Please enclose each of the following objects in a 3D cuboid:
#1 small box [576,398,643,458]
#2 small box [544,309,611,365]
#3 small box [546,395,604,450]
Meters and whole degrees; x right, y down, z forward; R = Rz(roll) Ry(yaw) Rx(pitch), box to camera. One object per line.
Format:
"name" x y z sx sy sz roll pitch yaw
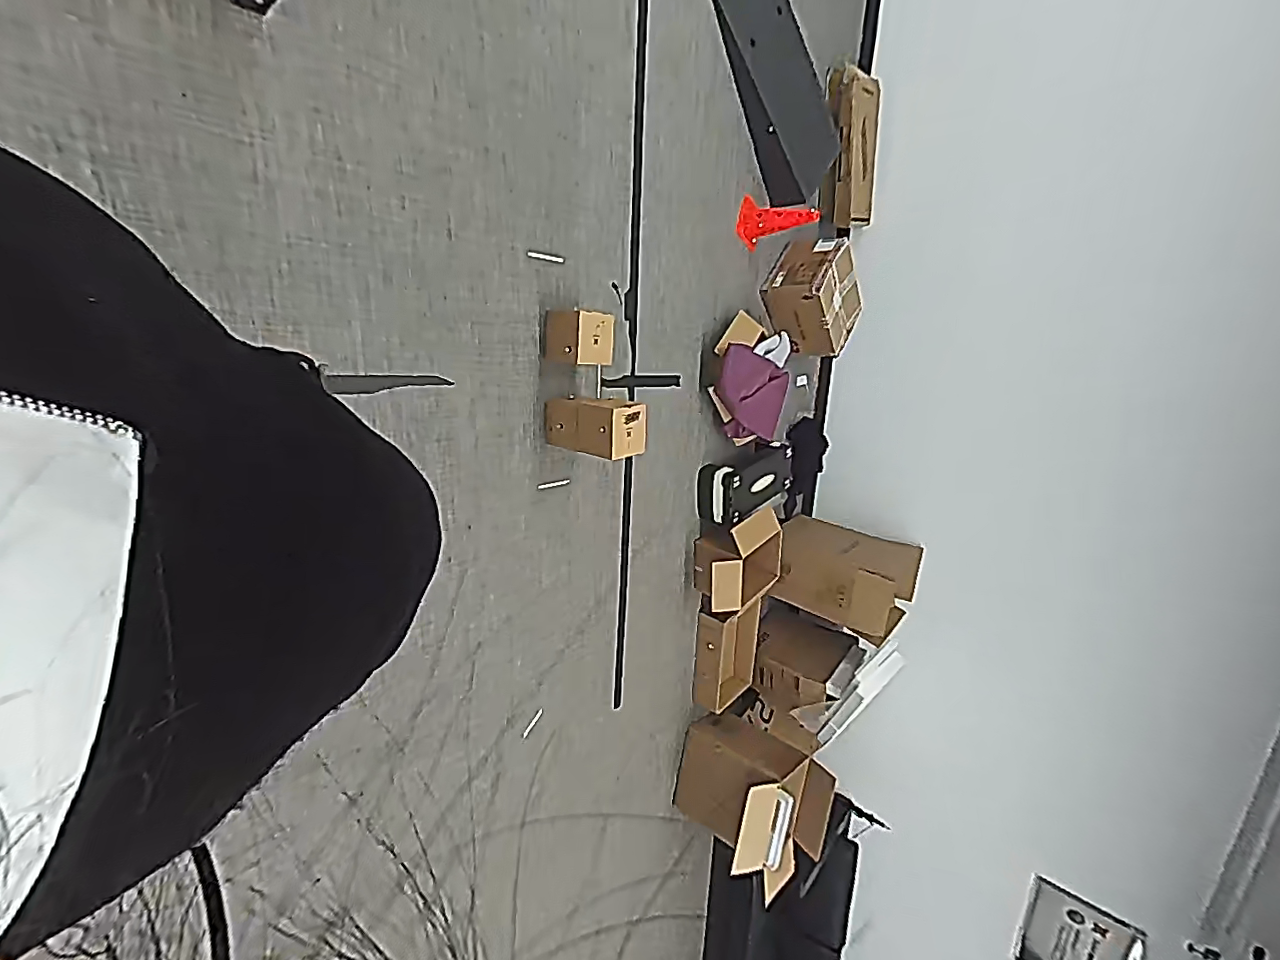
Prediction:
"small box" -0.107 -0.186 1.867 0.168 0.176 0.179 -17 115 -46
"small box" -0.222 -0.500 1.888 0.168 0.176 0.179 -12 110 -48
"small box" -0.229 -0.214 1.975 0.179 0.176 0.168 -17 115 -46
